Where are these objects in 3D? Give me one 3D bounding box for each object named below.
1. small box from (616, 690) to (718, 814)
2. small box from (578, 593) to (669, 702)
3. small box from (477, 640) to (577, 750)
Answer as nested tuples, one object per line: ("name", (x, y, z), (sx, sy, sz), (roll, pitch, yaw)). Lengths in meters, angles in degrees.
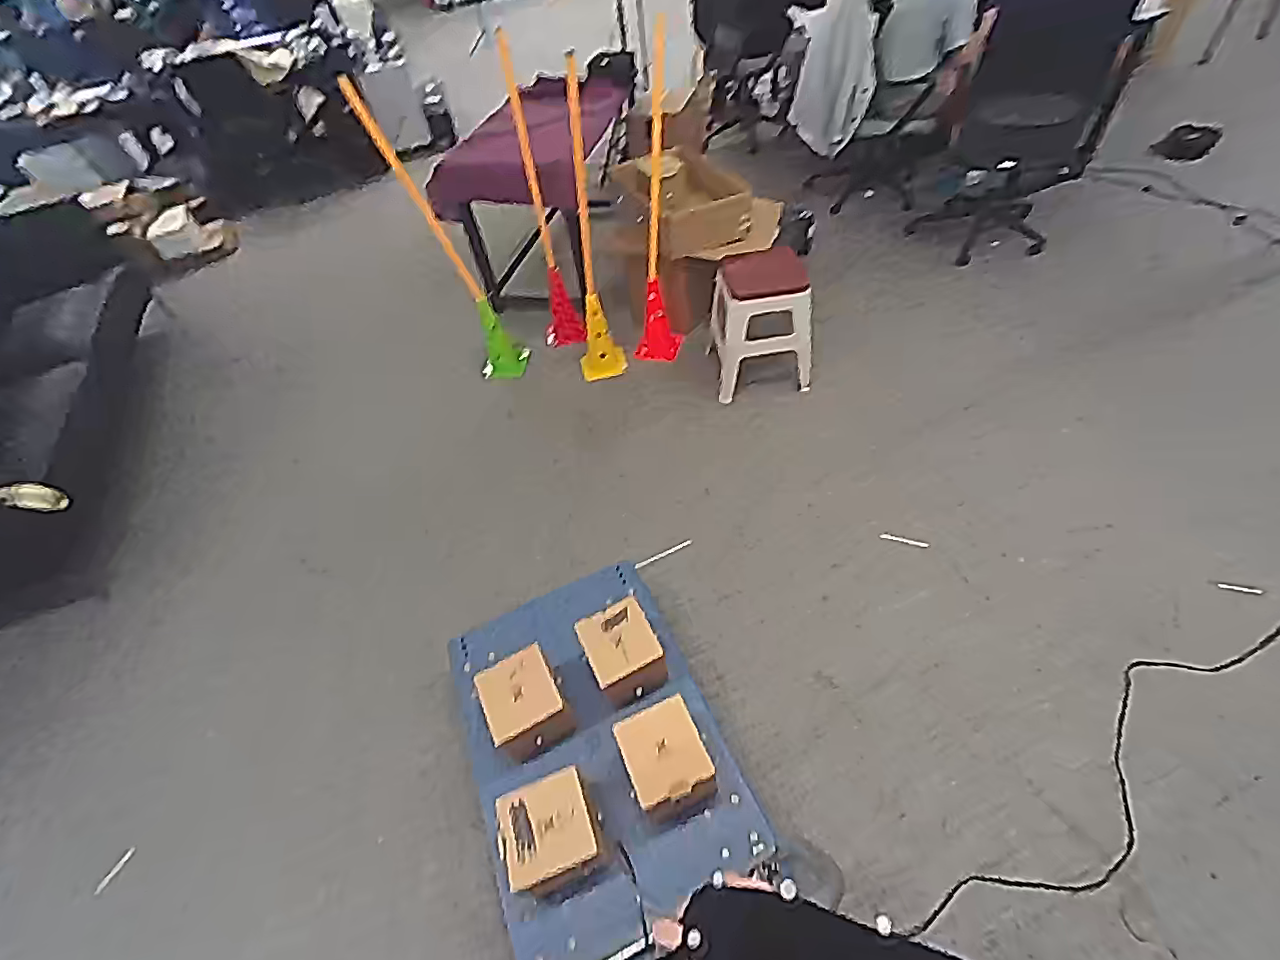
("small box", (0.060, 0.605, 1.198), (0.168, 0.176, 0.179), (-22, 52, -9))
("small box", (-0.039, 0.423, 1.360), (0.168, 0.176, 0.179), (-25, 52, -11))
("small box", (-0.268, 0.528, 1.309), (0.168, 0.176, 0.179), (-26, 52, -13))
